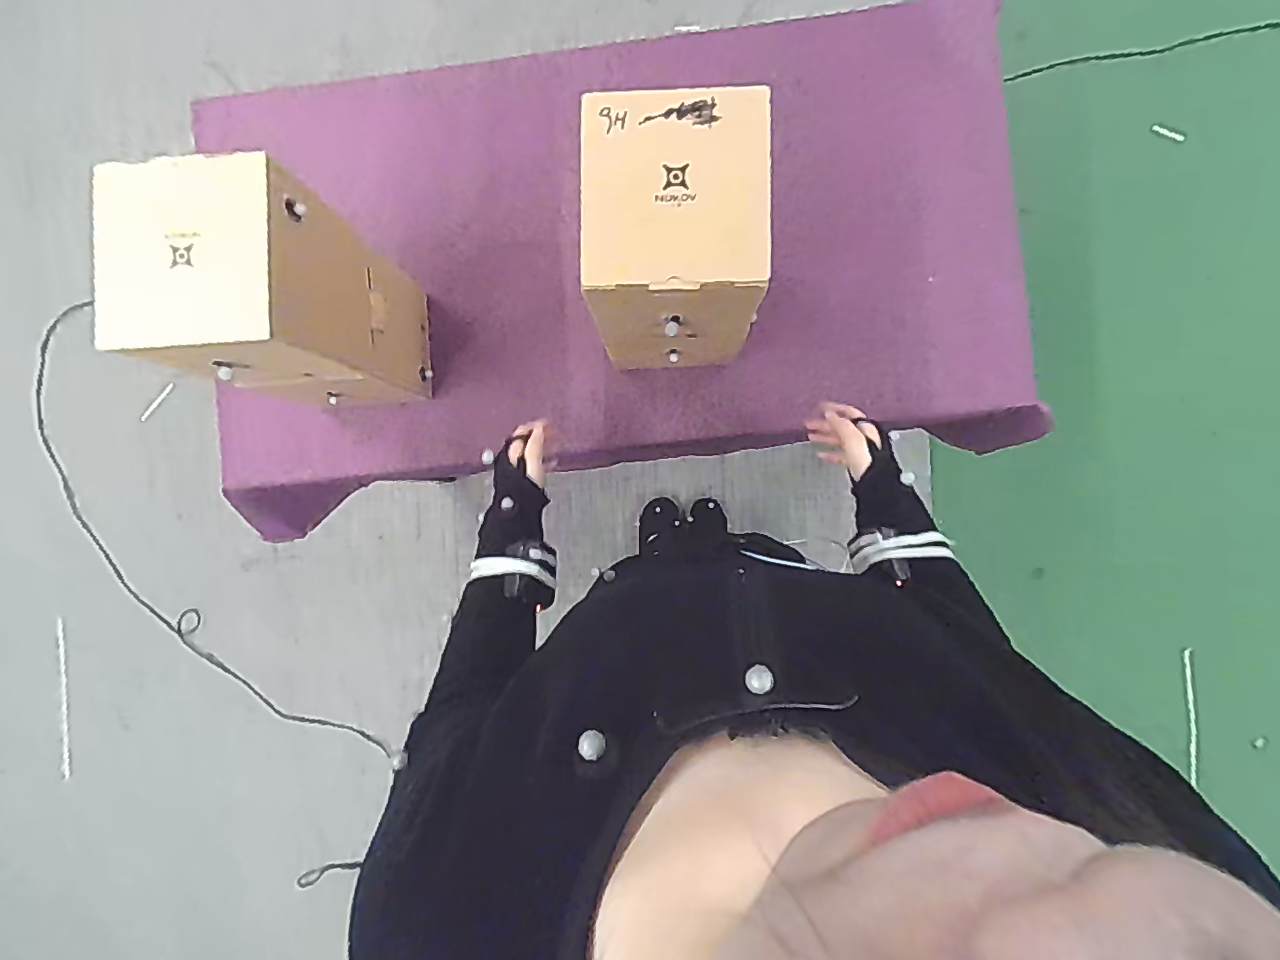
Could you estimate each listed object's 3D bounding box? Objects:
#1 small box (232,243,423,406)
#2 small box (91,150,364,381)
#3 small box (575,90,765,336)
[{"bbox_3d":[-0.408,-0.198,0.731,0.179,0.176,0.168,-4,88,2],"label":"small box"},{"bbox_3d":[-0.412,-0.205,0.568,0.168,0.176,0.179,-3,87,2],"label":"small box"},{"bbox_3d":[0.030,-0.251,0.551,0.168,0.176,0.179,1,89,3],"label":"small box"}]
